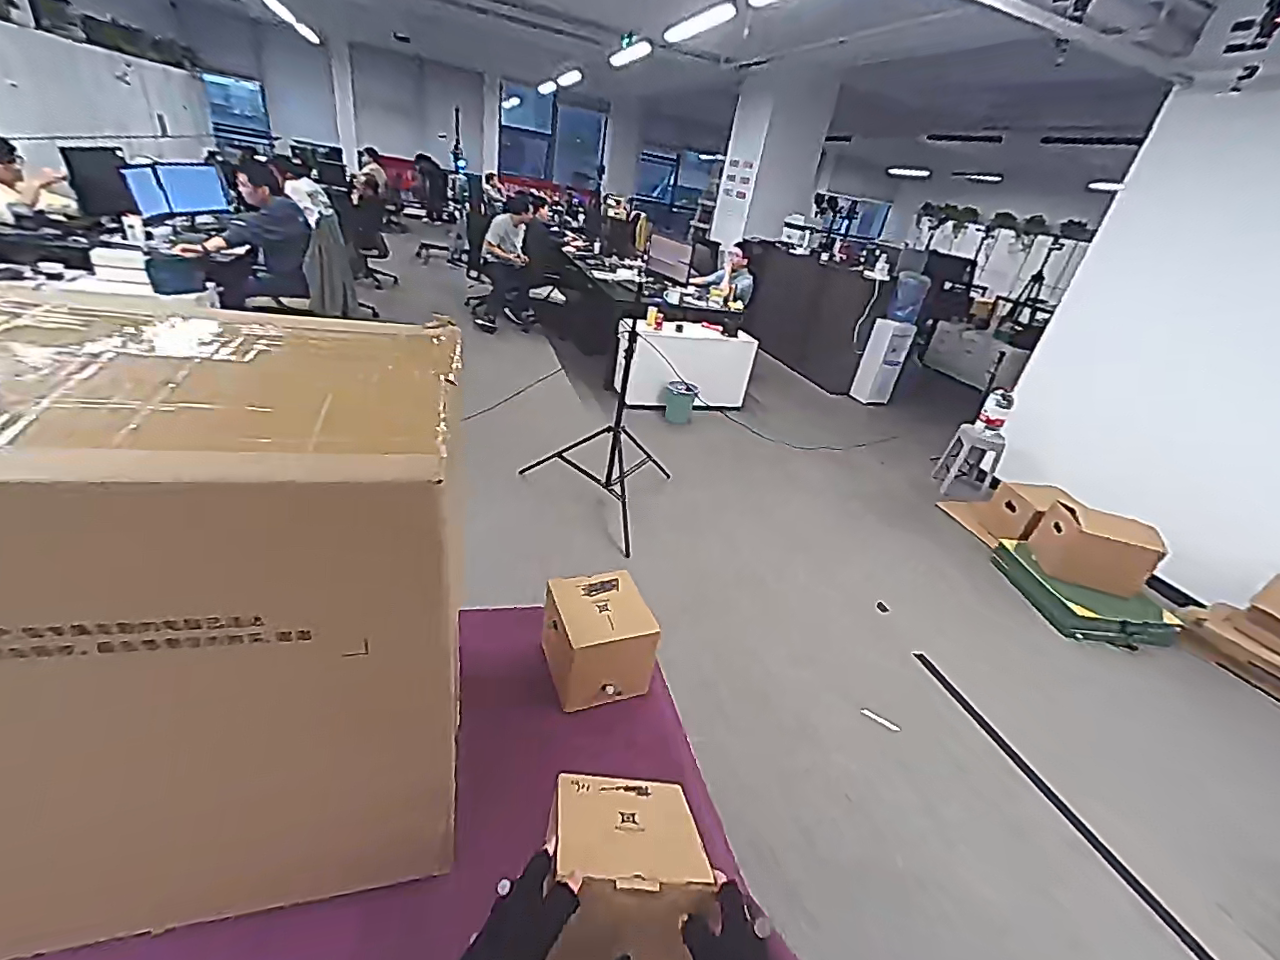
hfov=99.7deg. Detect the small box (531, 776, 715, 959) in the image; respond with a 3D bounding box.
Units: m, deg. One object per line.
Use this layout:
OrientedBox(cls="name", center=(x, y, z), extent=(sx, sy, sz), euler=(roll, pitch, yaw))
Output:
OrientedBox(cls="small box", center=(-0.026, 0.475, 0.615), extent=(0.168, 0.176, 0.179), euler=(11, 0, -8))
